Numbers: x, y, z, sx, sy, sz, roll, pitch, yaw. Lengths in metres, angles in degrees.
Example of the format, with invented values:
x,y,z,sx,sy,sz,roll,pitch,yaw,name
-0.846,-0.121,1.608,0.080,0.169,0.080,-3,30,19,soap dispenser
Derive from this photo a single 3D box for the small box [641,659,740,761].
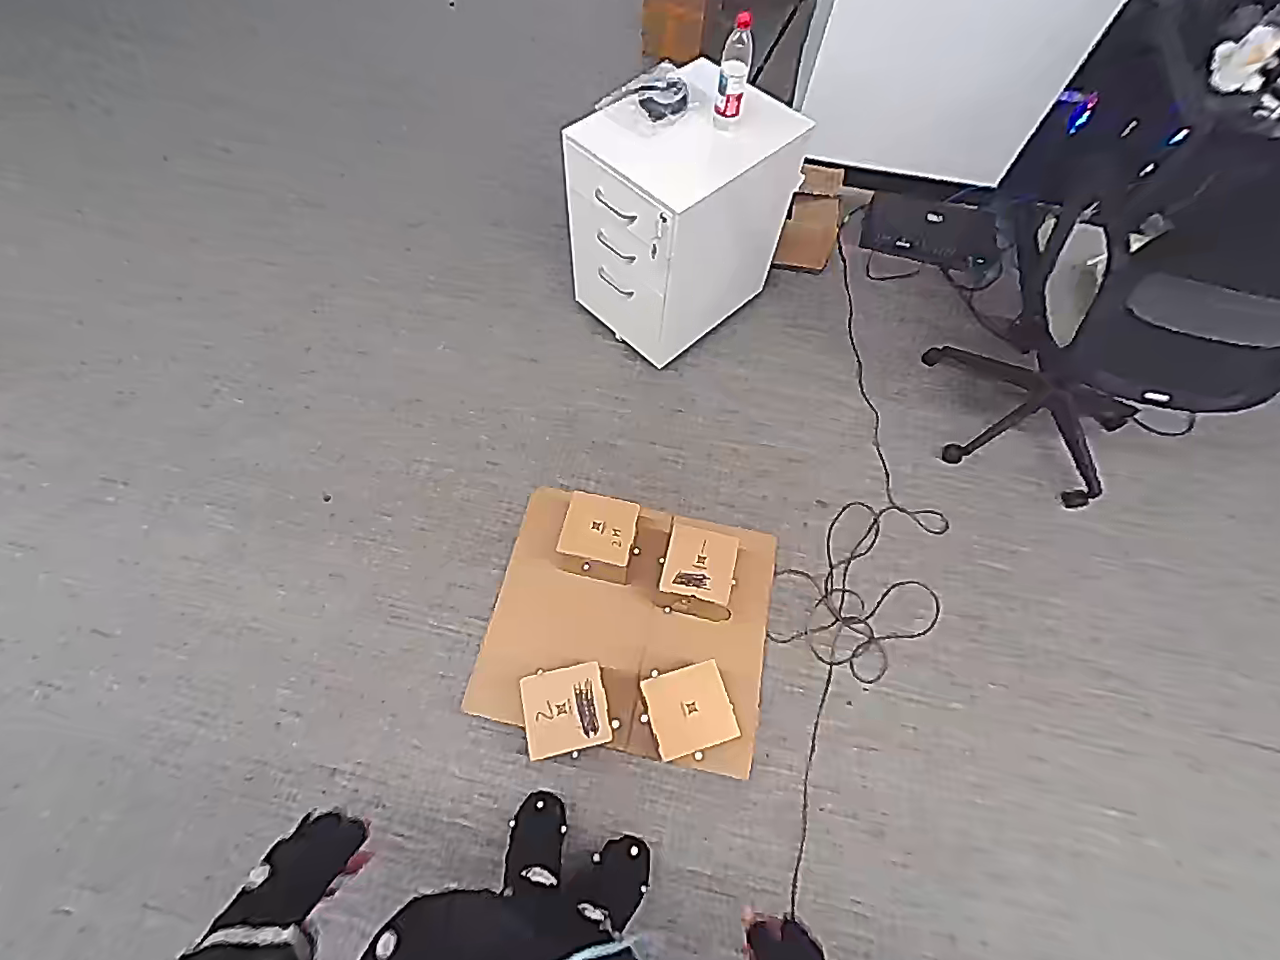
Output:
x,y,z,sx,sy,sz,roll,pitch,yaw,name
0.105,0.522,1.231,0.179,0.176,0.168,-15,65,-8,small box
